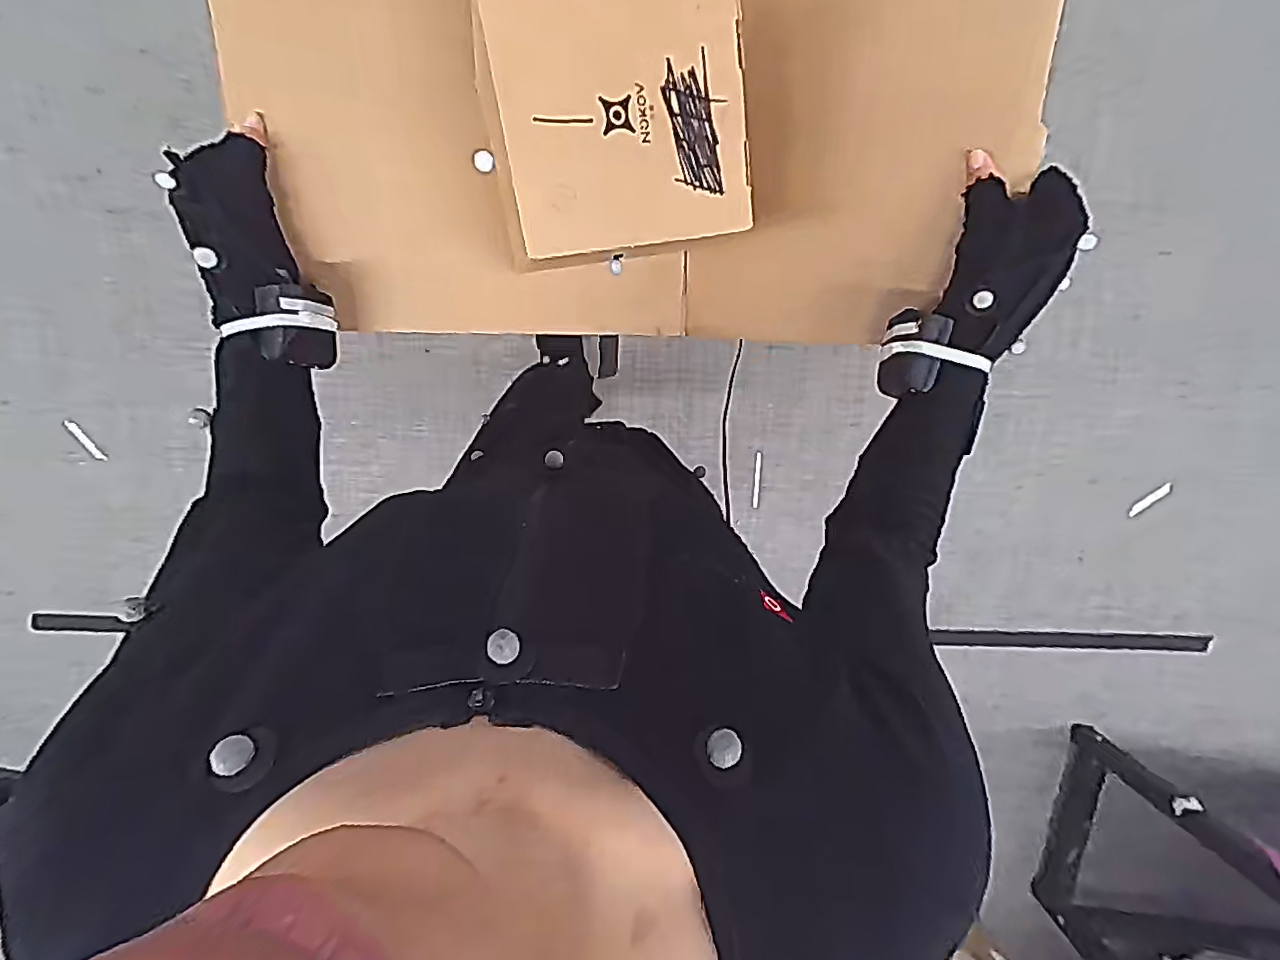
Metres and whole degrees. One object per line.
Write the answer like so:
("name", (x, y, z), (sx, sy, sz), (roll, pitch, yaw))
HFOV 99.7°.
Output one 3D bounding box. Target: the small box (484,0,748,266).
("small box", (-0.028, -0.281, 0.454), (0.179, 0.176, 0.168), (-13, 110, -11))
